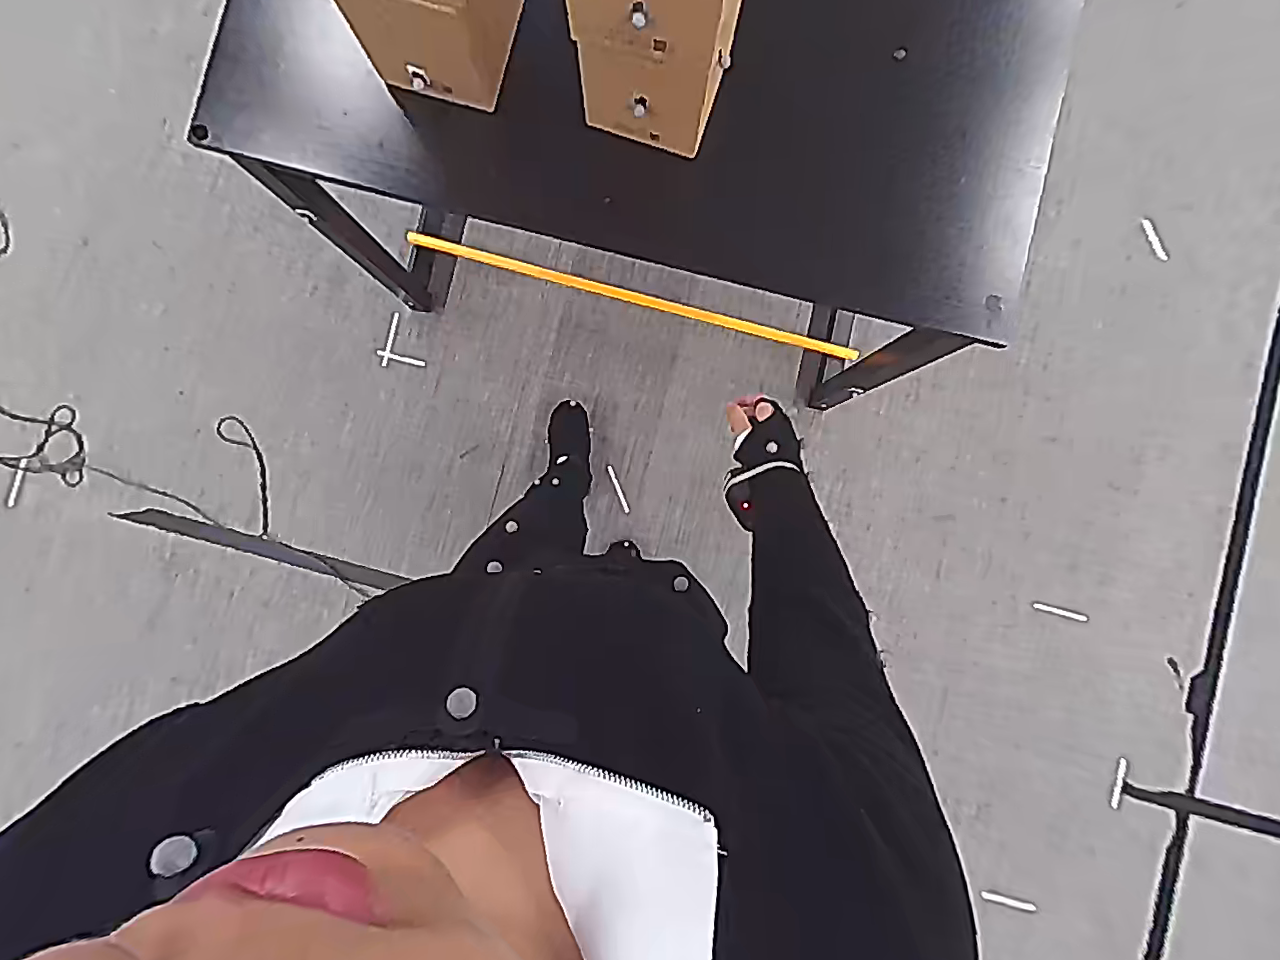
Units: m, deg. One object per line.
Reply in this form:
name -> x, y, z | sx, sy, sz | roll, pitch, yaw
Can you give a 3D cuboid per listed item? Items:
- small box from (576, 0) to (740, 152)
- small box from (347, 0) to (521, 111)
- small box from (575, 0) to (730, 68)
small box -> 0.029, -0.572, 0.702 | 0.168, 0.176, 0.179 | 18, 88, 0
small box -> -0.263, -0.633, 0.700 | 0.168, 0.176, 0.179 | 14, 89, 1
small box -> 0.023, -0.570, 0.536 | 0.168, 0.176, 0.179 | 14, 88, 0
